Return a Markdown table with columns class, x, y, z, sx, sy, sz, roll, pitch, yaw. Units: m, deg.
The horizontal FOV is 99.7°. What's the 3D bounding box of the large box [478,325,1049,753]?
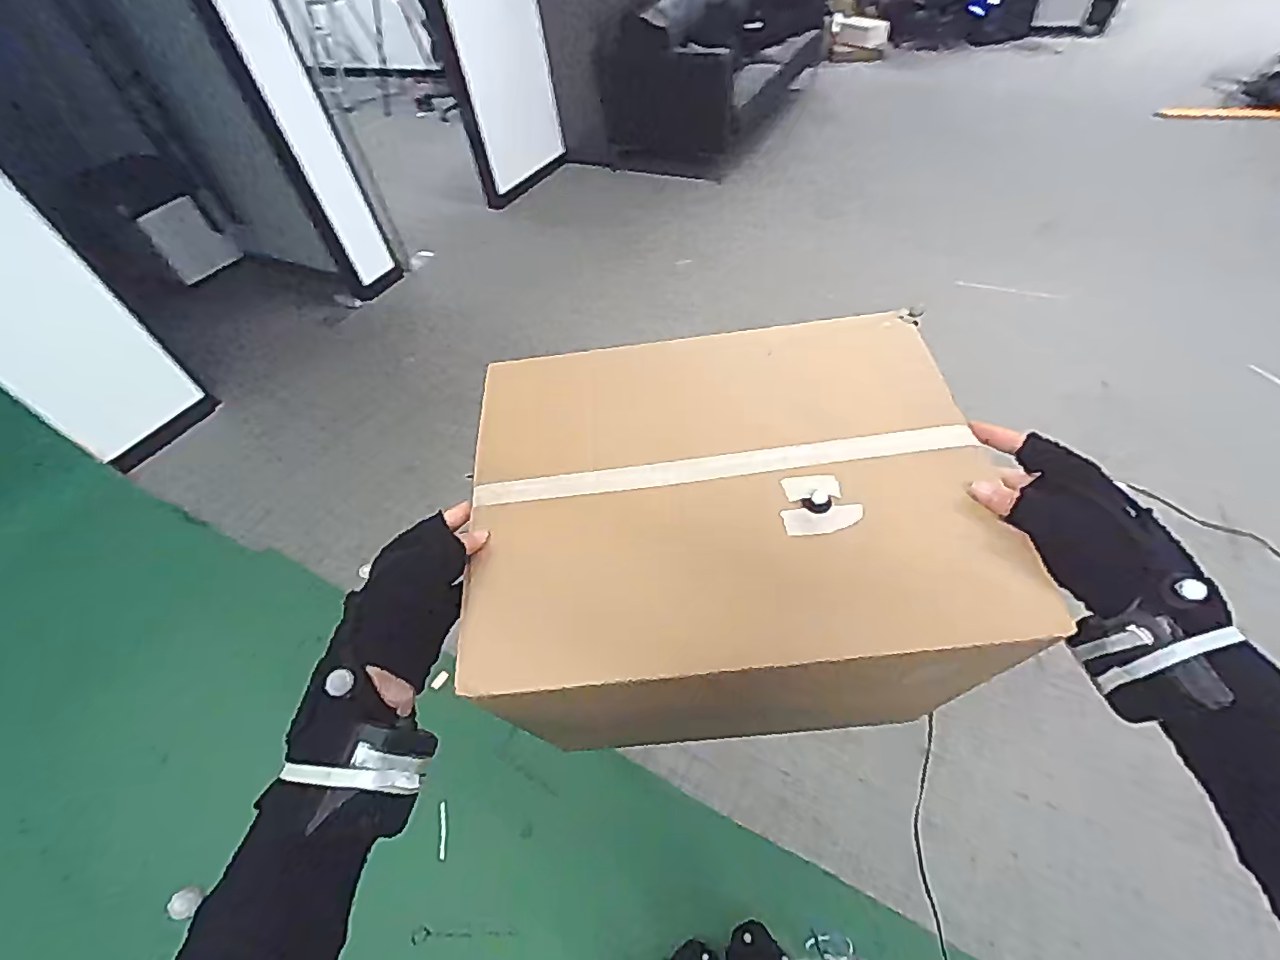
| class | x | y | z | sx | sy | sz | roll | pitch | yaw |
| --- | --- | --- | --- | --- | --- | --- | --- | --- | --- |
| large box | 0.083 | 0.082 | 0.575 | 0.408 | 0.320 | 0.320 | -7 | 57 | 3 |
